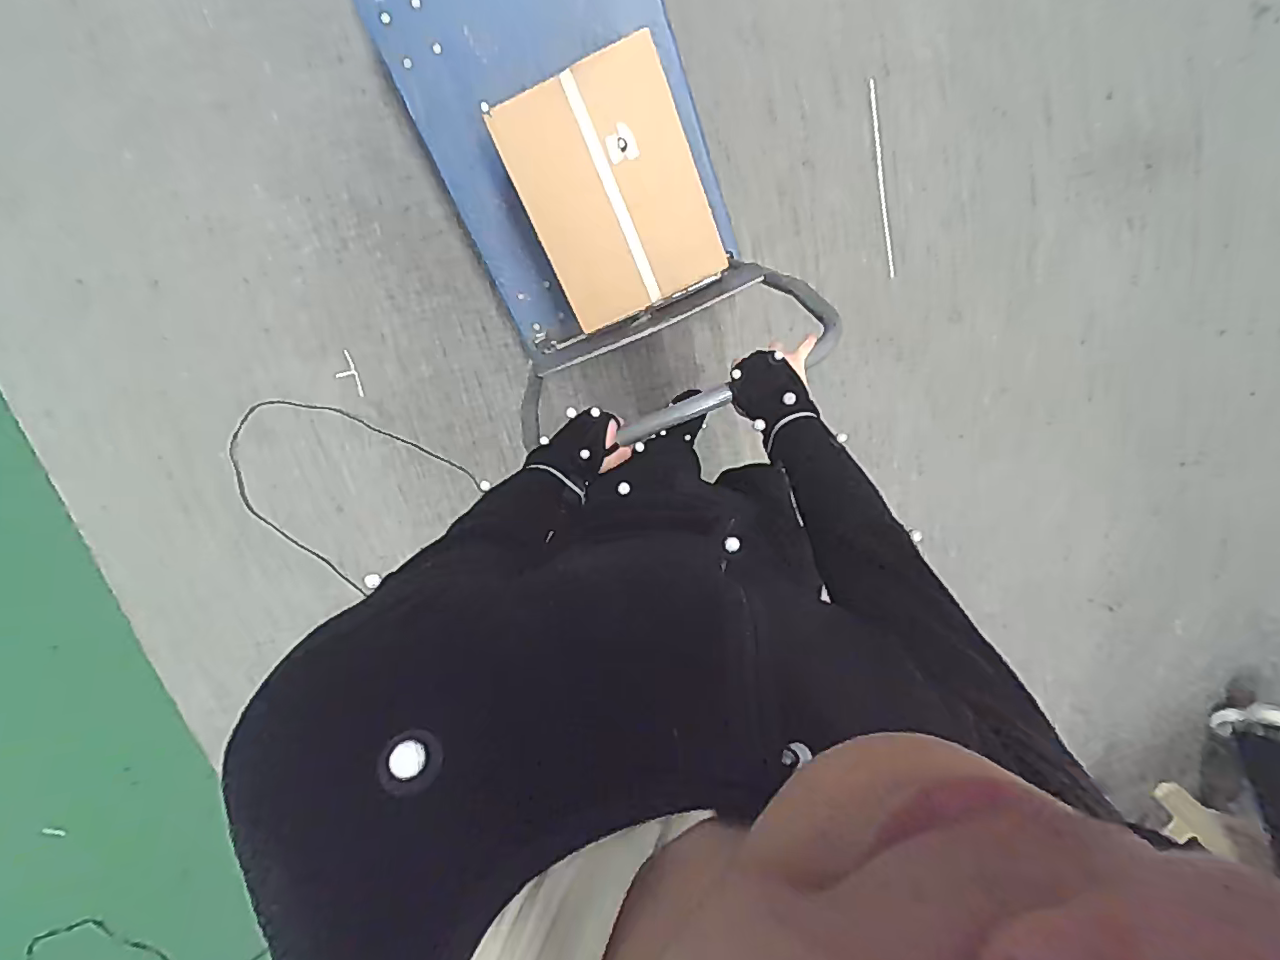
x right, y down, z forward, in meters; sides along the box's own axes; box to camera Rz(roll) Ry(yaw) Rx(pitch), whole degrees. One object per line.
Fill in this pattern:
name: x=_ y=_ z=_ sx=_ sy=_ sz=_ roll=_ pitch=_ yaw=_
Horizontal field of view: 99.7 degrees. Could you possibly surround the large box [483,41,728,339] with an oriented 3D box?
large box: x=-0.057 y=-0.555 z=1.113 sx=0.320 sy=0.320 sz=0.408 roll=-24 pitch=112 yaw=5
